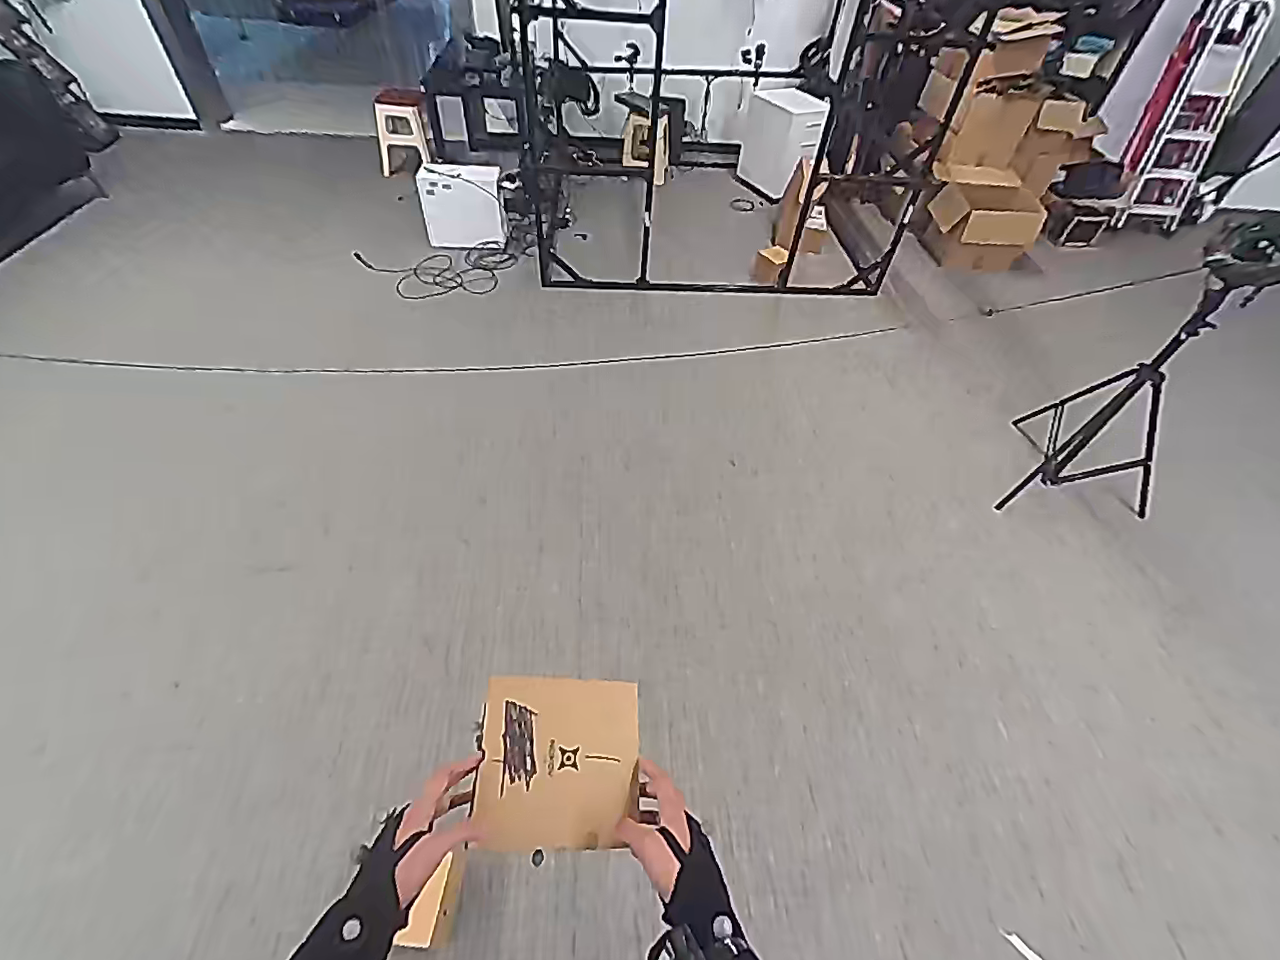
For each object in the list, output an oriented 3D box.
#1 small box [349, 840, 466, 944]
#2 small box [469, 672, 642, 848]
[{"bbox_3d":[-0.509,0.930,1.221,0.179,0.176,0.168,5,49,1],"label":"small box"},{"bbox_3d":[-0.102,0.340,0.647,0.179,0.176,0.168,9,55,-13],"label":"small box"}]
